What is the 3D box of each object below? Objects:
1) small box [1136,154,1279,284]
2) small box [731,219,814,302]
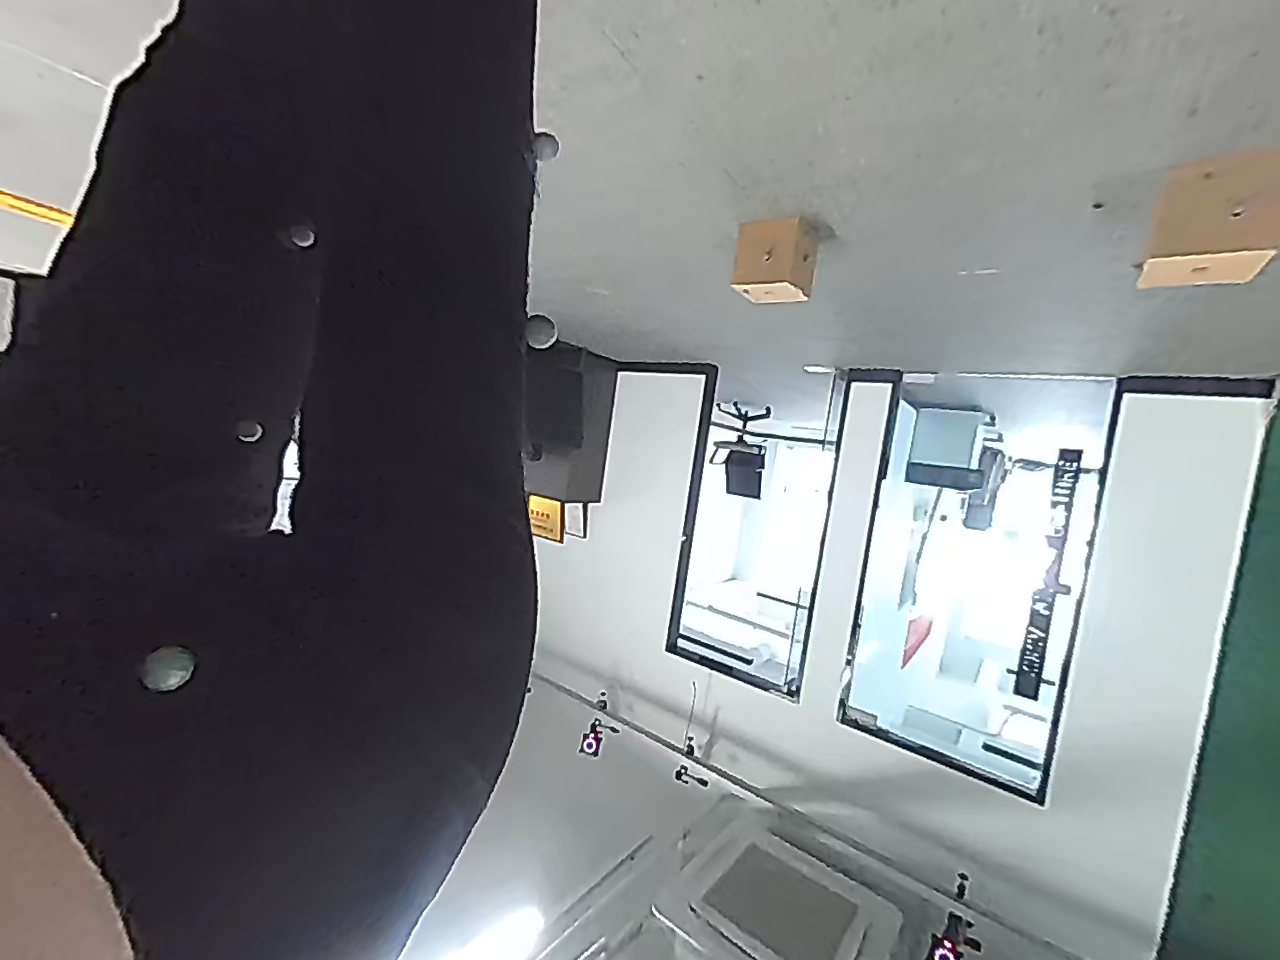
[{"bbox_3d":[1.061,-0.483,1.010,0.168,0.176,0.179,10,-175,36],"label":"small box"},{"bbox_3d":[0.372,-0.604,1.495,0.179,0.176,0.168,10,-176,35],"label":"small box"}]
